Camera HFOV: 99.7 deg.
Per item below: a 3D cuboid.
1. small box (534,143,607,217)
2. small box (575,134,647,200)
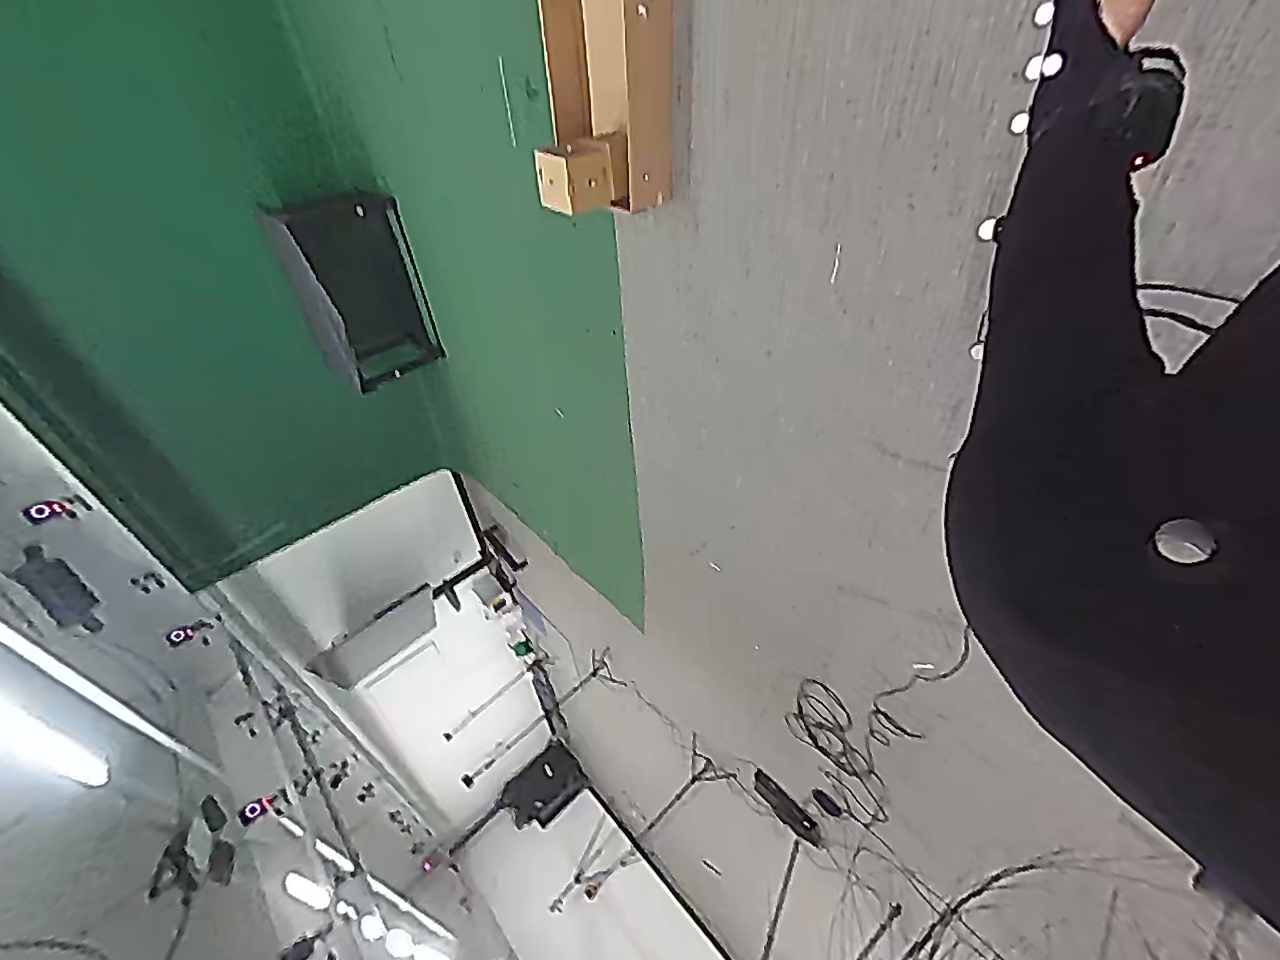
[{"bbox_3d":[-0.222,-0.994,1.784,0.179,0.176,0.168,35,144,32],"label":"small box"},{"bbox_3d":[-0.096,-1.076,1.851,0.179,0.176,0.168,30,142,36],"label":"small box"}]
